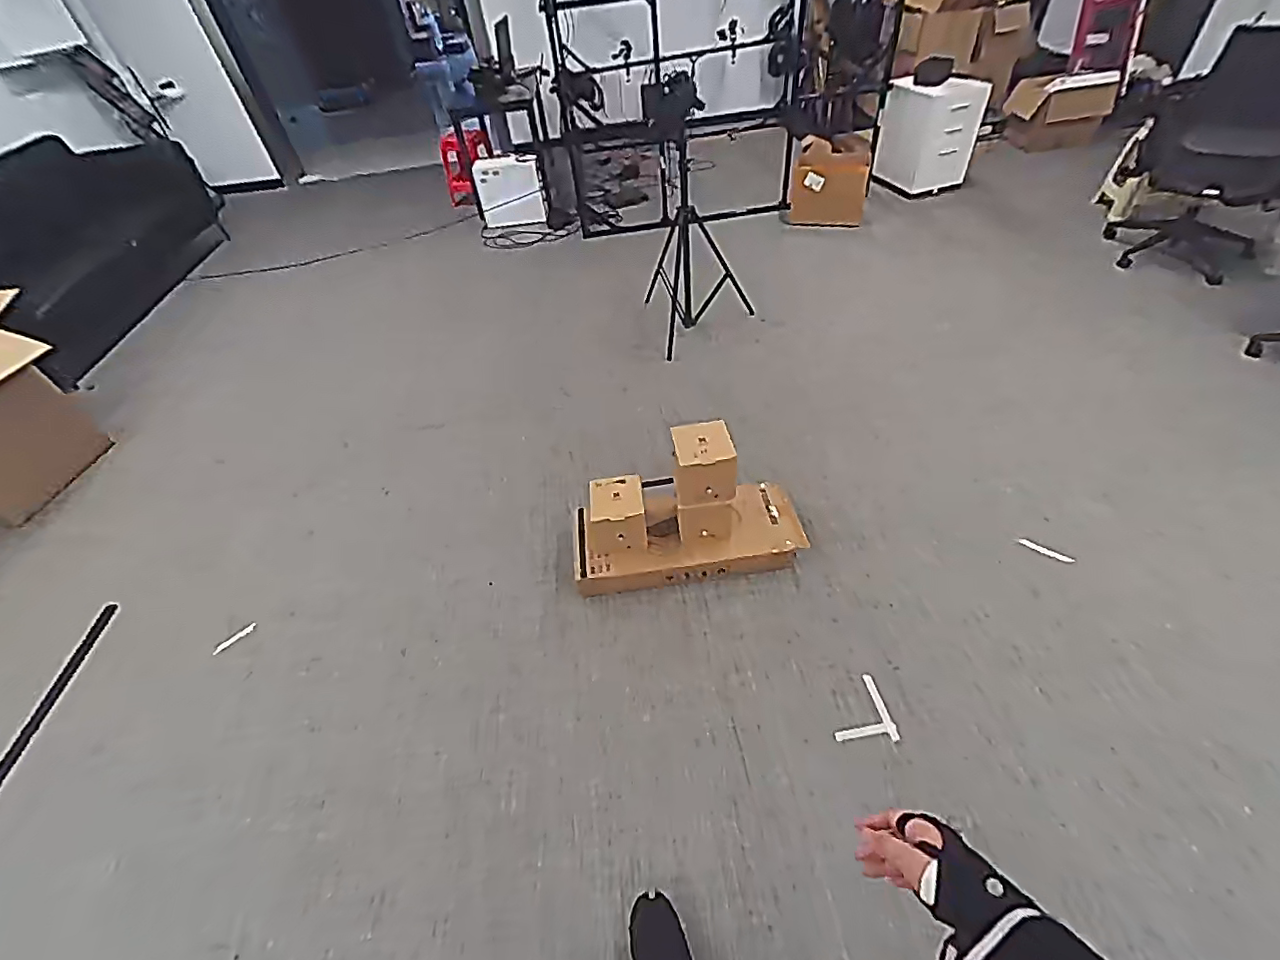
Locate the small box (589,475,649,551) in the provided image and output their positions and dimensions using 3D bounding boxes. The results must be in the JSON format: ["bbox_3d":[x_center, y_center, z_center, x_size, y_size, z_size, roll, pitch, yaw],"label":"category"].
[{"bbox_3d":[-0.065,0.112,1.729,0.168,0.176,0.179,-8,46,1],"label":"small box"}]

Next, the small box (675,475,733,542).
[{"bbox_3d":[0.202,0.077,1.733,0.168,0.176,0.179,-6,46,2],"label":"small box"}]

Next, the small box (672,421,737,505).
[{"bbox_3d":[0.191,-0.050,1.626,0.168,0.176,0.179,-9,45,-1],"label":"small box"}]
